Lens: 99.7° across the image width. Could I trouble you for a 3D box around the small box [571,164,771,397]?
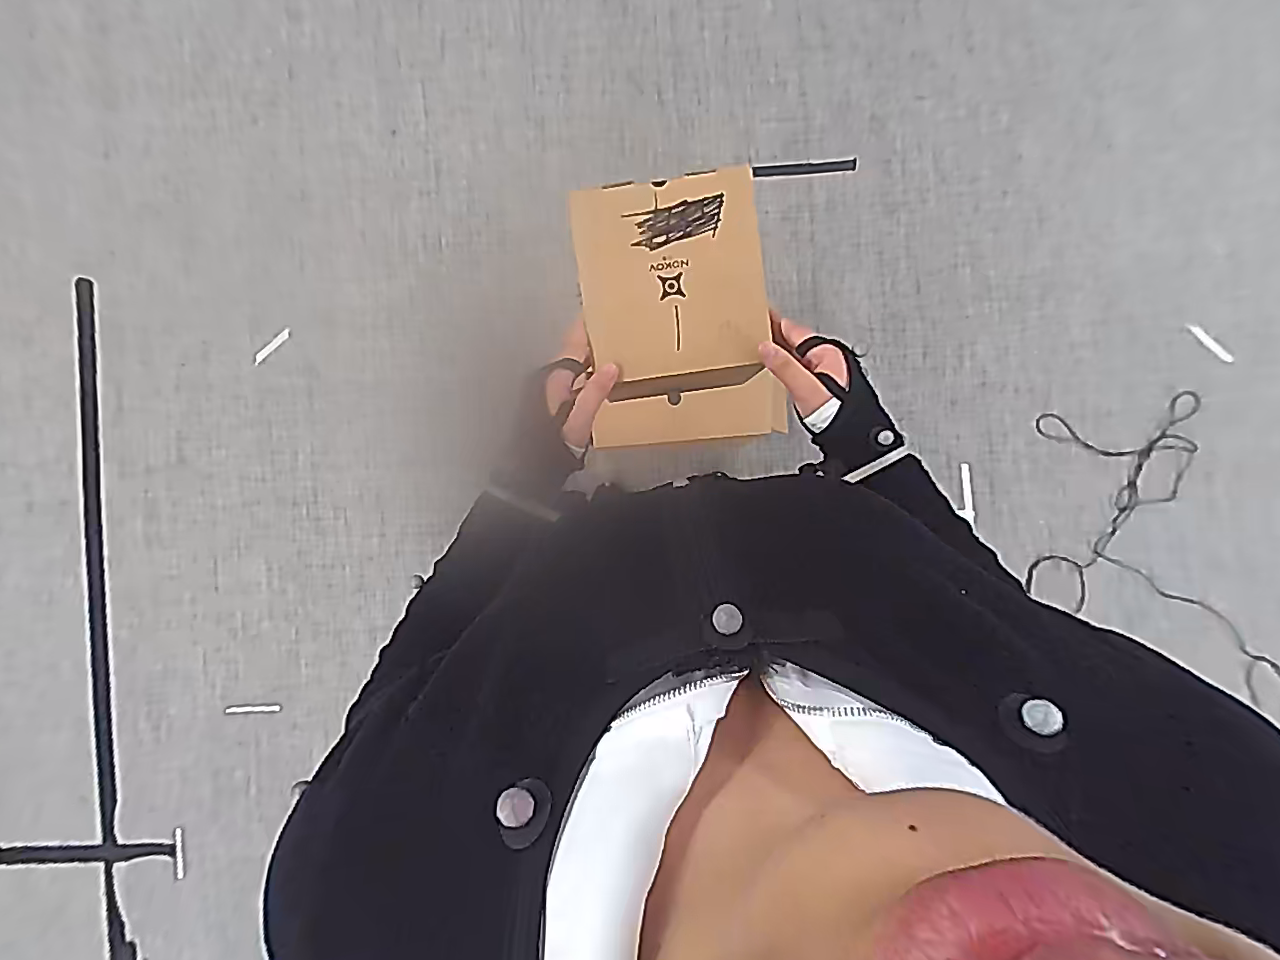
[{"bbox_3d":[0.029,-0.190,0.565,0.168,0.176,0.179,-8,93,2],"label":"small box"}]
